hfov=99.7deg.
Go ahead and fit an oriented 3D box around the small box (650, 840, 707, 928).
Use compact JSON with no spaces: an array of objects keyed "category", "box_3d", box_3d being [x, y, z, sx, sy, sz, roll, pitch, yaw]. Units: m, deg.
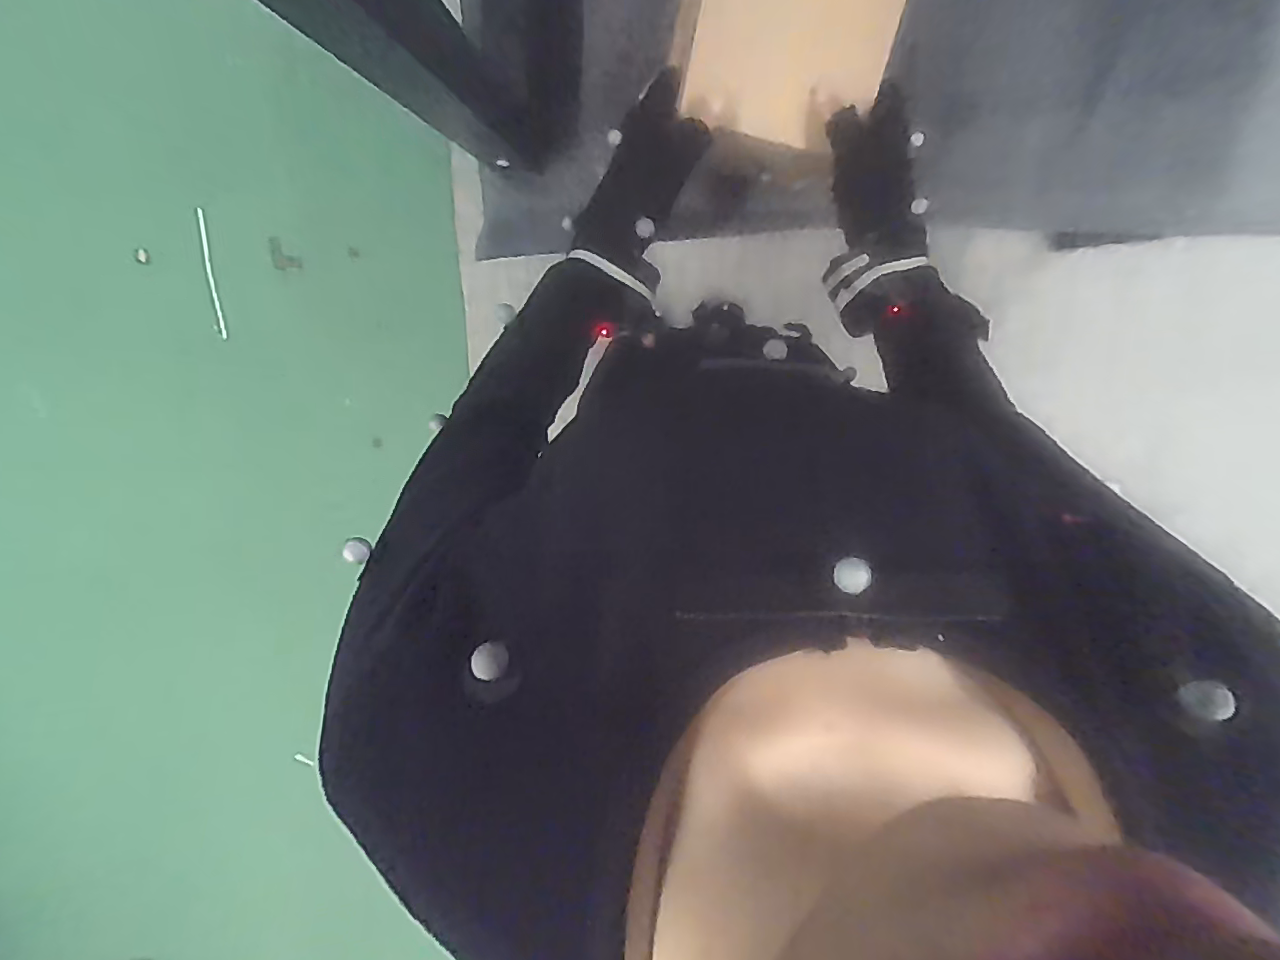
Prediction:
[{"category":"small box","box_3d":[0.132,1.393,1.872,0.168,0.176,0.179,10,109,1]}]
